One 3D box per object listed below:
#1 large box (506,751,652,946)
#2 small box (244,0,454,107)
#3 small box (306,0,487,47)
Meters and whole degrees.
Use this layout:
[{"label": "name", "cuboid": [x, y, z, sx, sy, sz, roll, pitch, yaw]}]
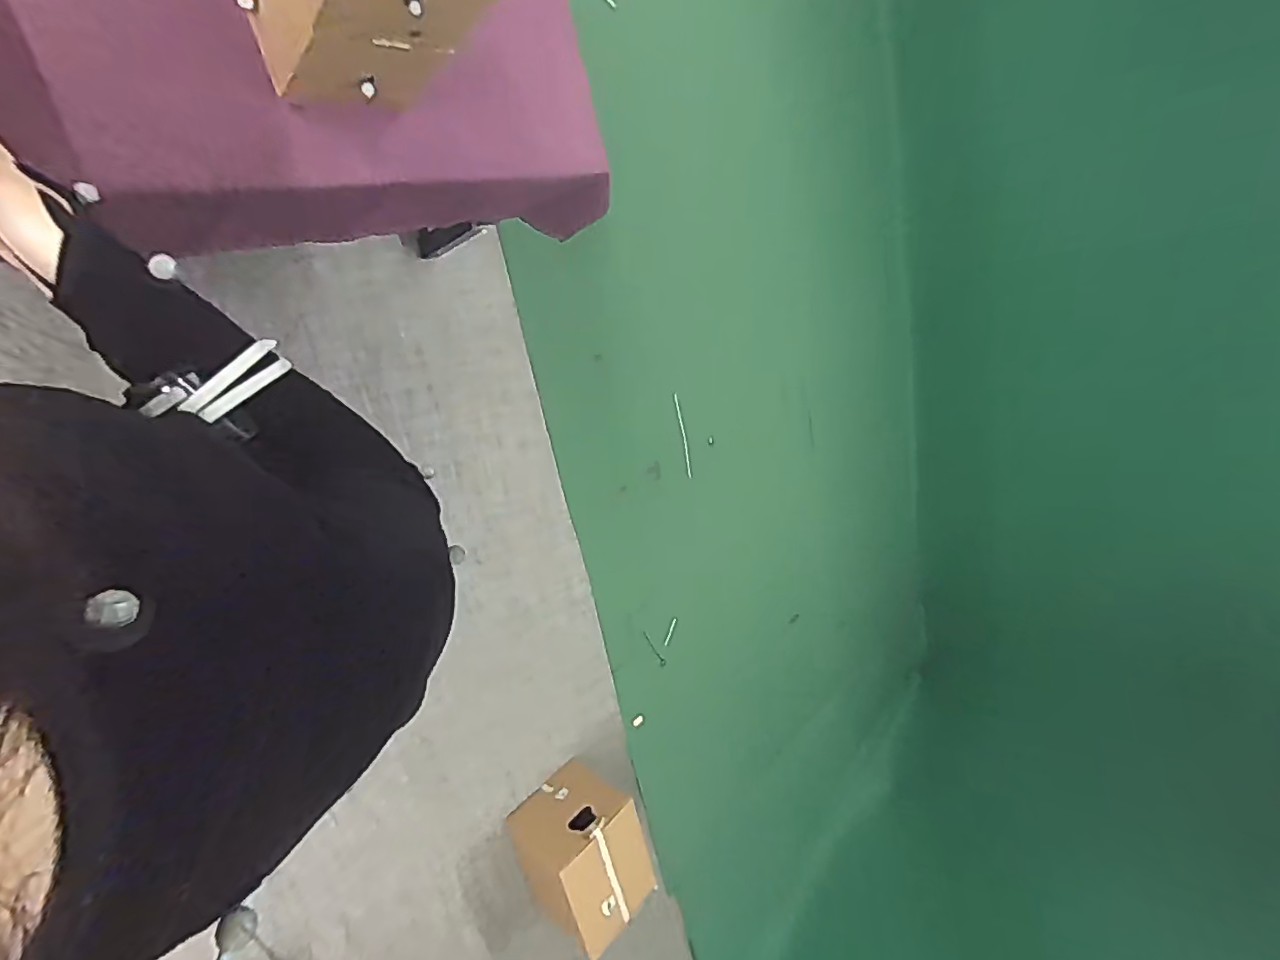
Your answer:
[{"label": "large box", "cuboid": [-0.206, 1.247, 1.867, 0.320, 0.320, 0.408, -28, 114, -40]}, {"label": "small box", "cuboid": [-0.354, -0.572, 0.639, 0.168, 0.176, 0.179, -28, 113, -39]}, {"label": "small box", "cuboid": [-0.242, -0.561, 0.518, 0.168, 0.176, 0.179, -29, 112, -39]}]
